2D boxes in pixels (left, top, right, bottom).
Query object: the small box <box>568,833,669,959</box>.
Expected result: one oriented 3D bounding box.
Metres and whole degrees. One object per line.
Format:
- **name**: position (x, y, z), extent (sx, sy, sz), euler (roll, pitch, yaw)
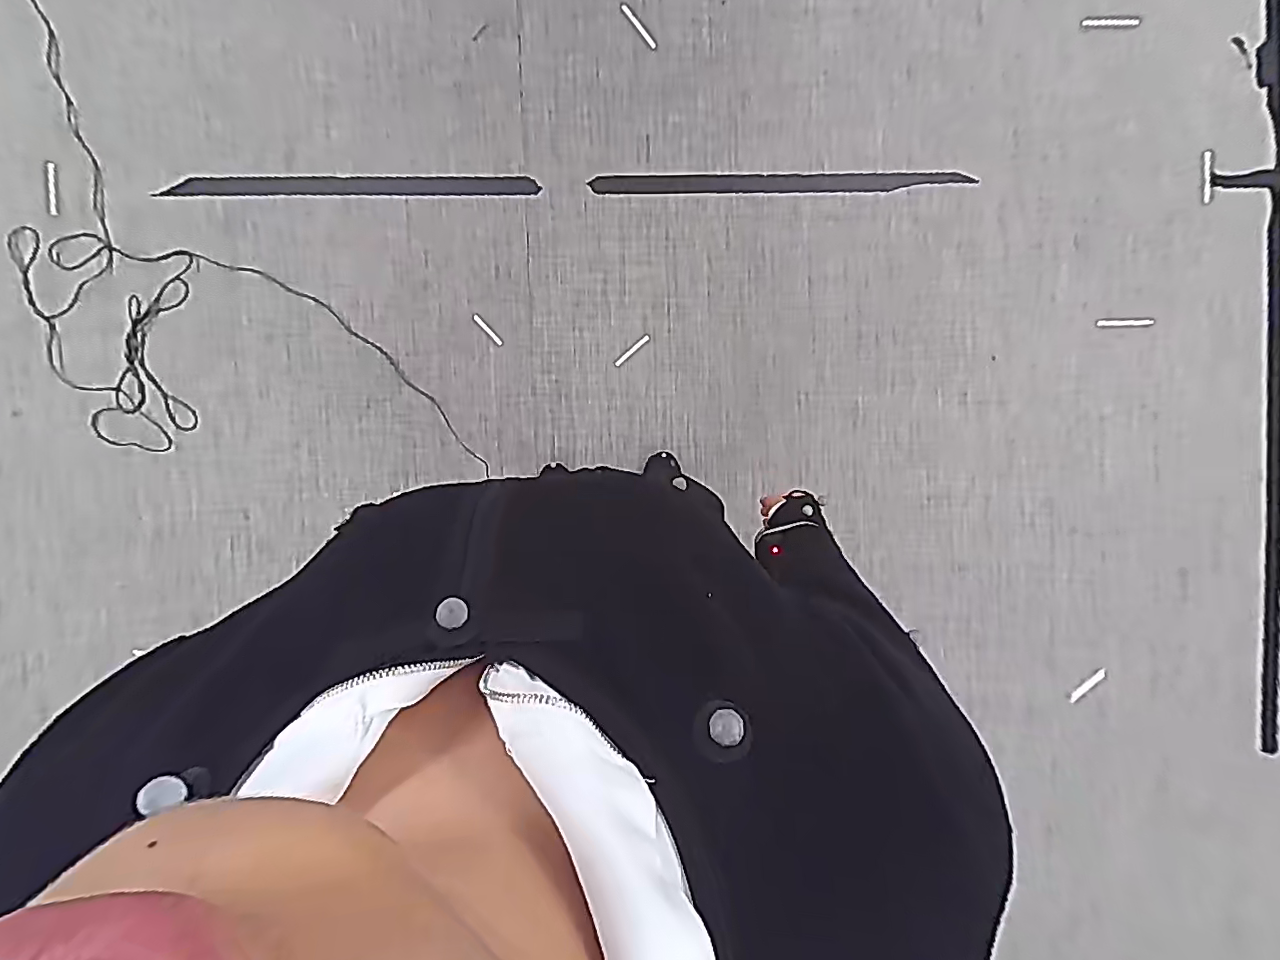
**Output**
- **small box**: position (-0.034, 0.763, 0.953), extent (0.168, 0.176, 0.179), euler (-1, 88, -1)
